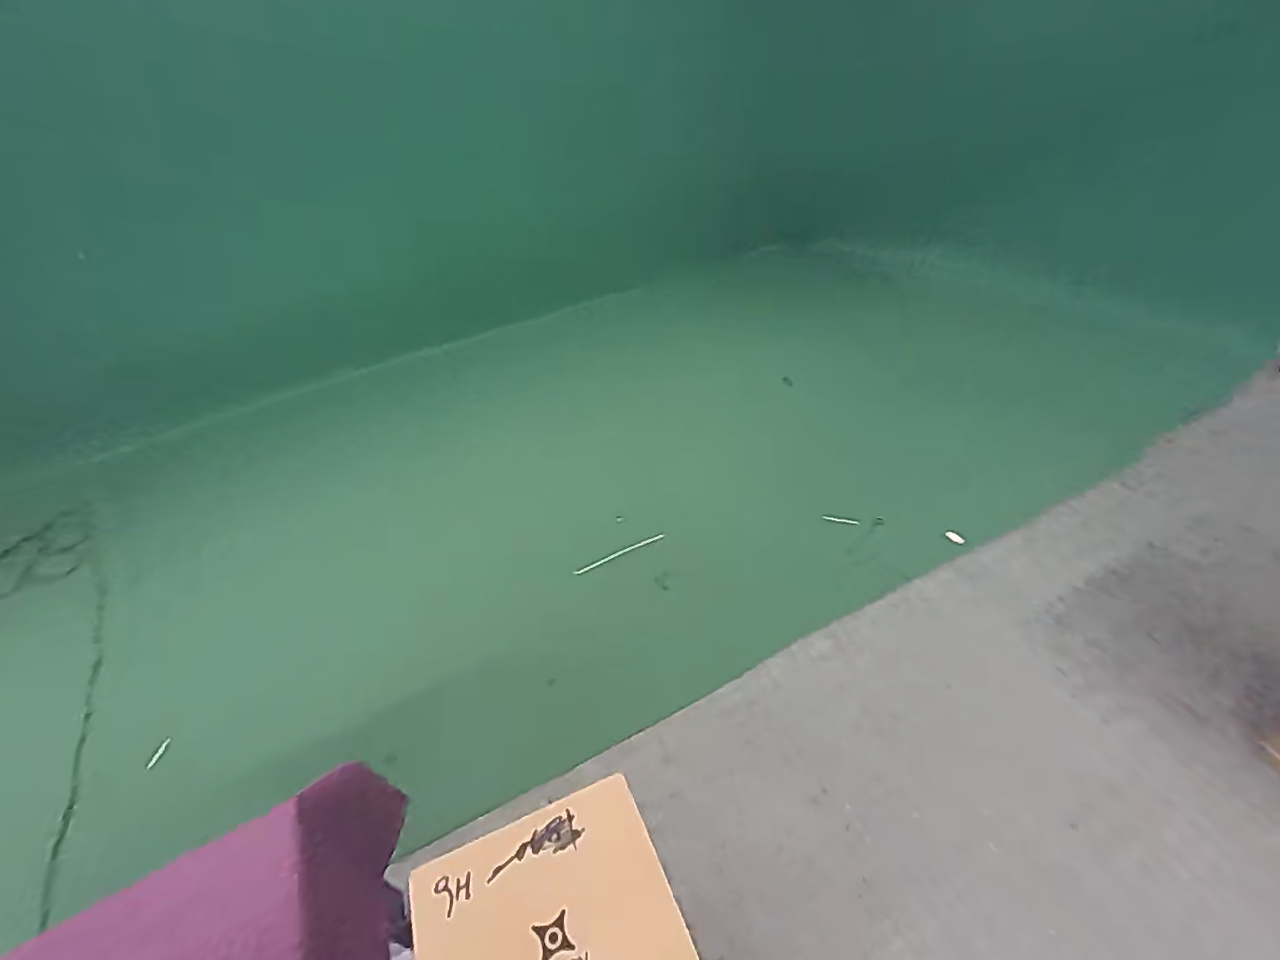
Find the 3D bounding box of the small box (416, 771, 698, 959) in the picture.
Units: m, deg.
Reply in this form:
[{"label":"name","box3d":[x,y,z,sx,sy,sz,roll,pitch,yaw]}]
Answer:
[{"label":"small box","box3d":[-0.050,0.362,0.397,0.168,0.176,0.179,-16,41,-17]}]
